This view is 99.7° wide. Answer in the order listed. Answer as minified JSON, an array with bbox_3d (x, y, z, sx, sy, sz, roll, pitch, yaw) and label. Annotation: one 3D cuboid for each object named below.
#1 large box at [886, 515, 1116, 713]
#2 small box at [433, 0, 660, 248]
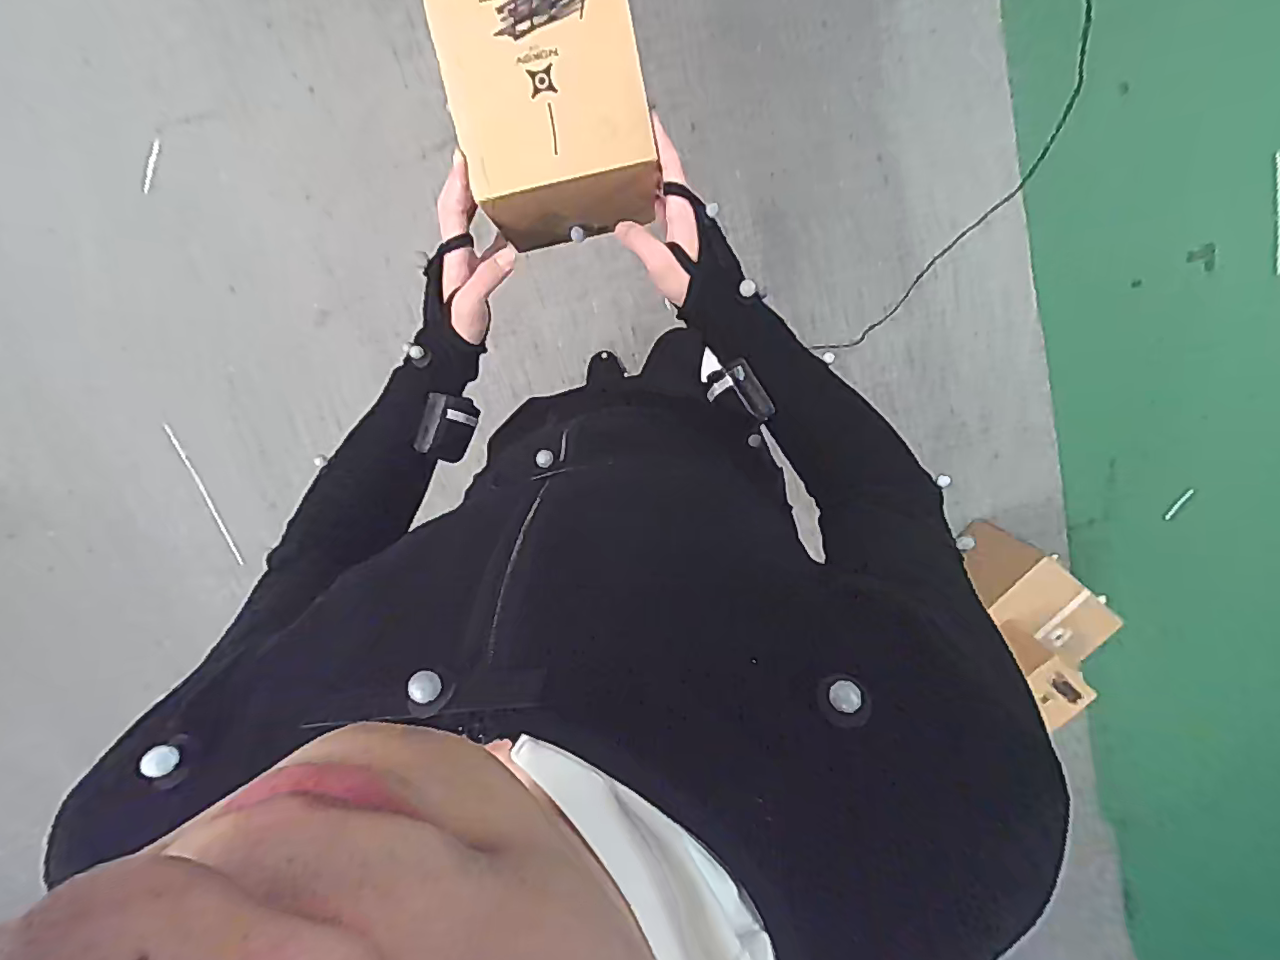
[{"bbox_3d":[1.030,0.380,1.597,0.320,0.320,0.408,38,100,-10],"label":"large box"},{"bbox_3d":[-0.078,-0.355,0.533,0.168,0.176,0.179,-11,98,3],"label":"small box"}]
